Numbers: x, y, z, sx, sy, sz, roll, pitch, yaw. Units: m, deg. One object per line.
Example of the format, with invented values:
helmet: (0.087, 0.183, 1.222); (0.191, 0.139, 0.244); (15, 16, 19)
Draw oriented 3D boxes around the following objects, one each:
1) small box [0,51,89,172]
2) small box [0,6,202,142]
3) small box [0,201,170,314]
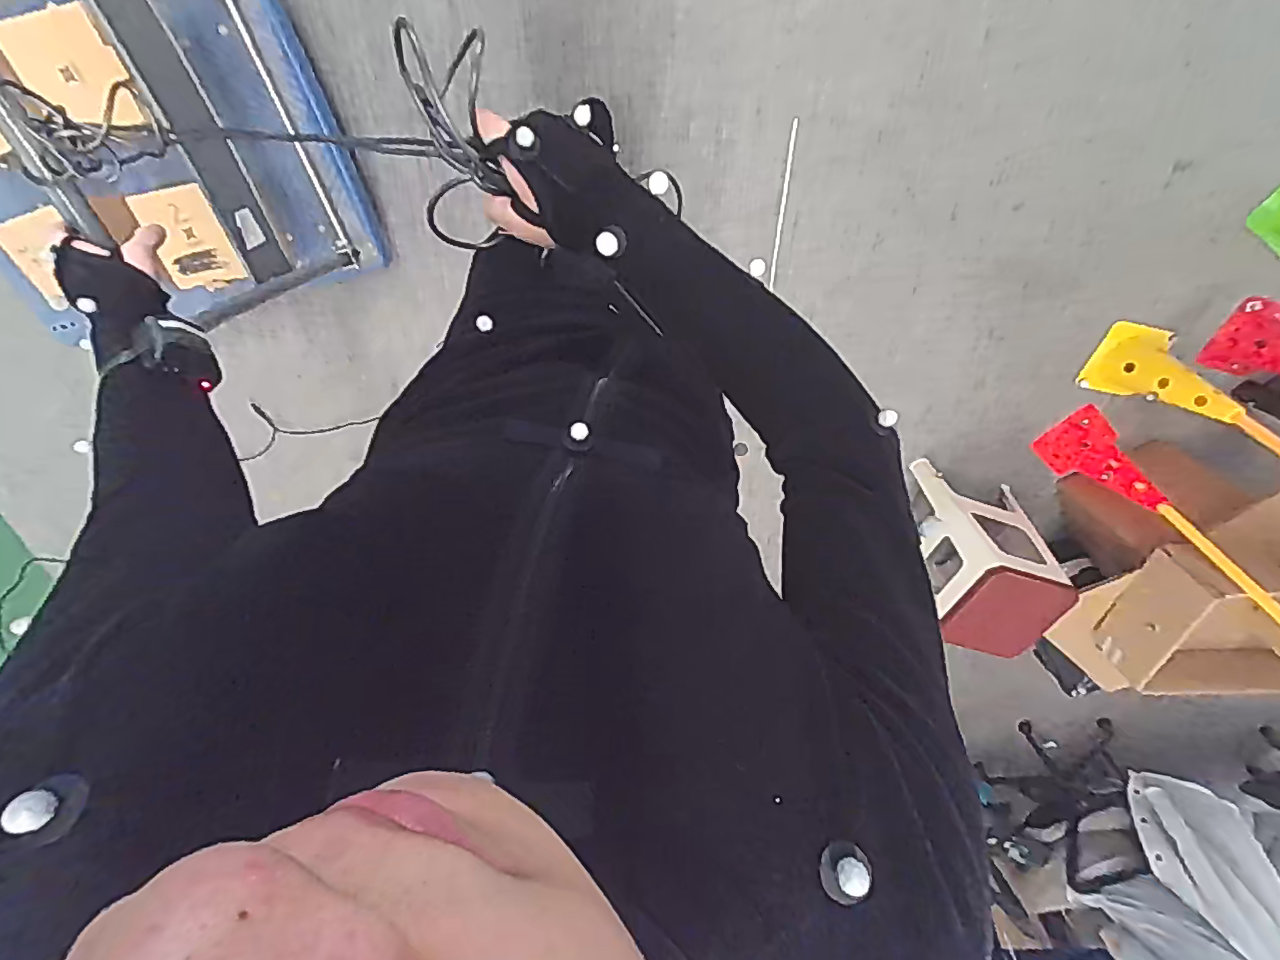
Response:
small box: (-1.215, -0.685, 1.009); (0.179, 0.176, 0.168); (-13, 123, 6)
small box: (-0.973, -0.728, 0.989); (0.179, 0.176, 0.168); (-10, 123, 5)
small box: (-1.160, -0.476, 1.146); (0.179, 0.176, 0.168); (-14, 122, 7)
